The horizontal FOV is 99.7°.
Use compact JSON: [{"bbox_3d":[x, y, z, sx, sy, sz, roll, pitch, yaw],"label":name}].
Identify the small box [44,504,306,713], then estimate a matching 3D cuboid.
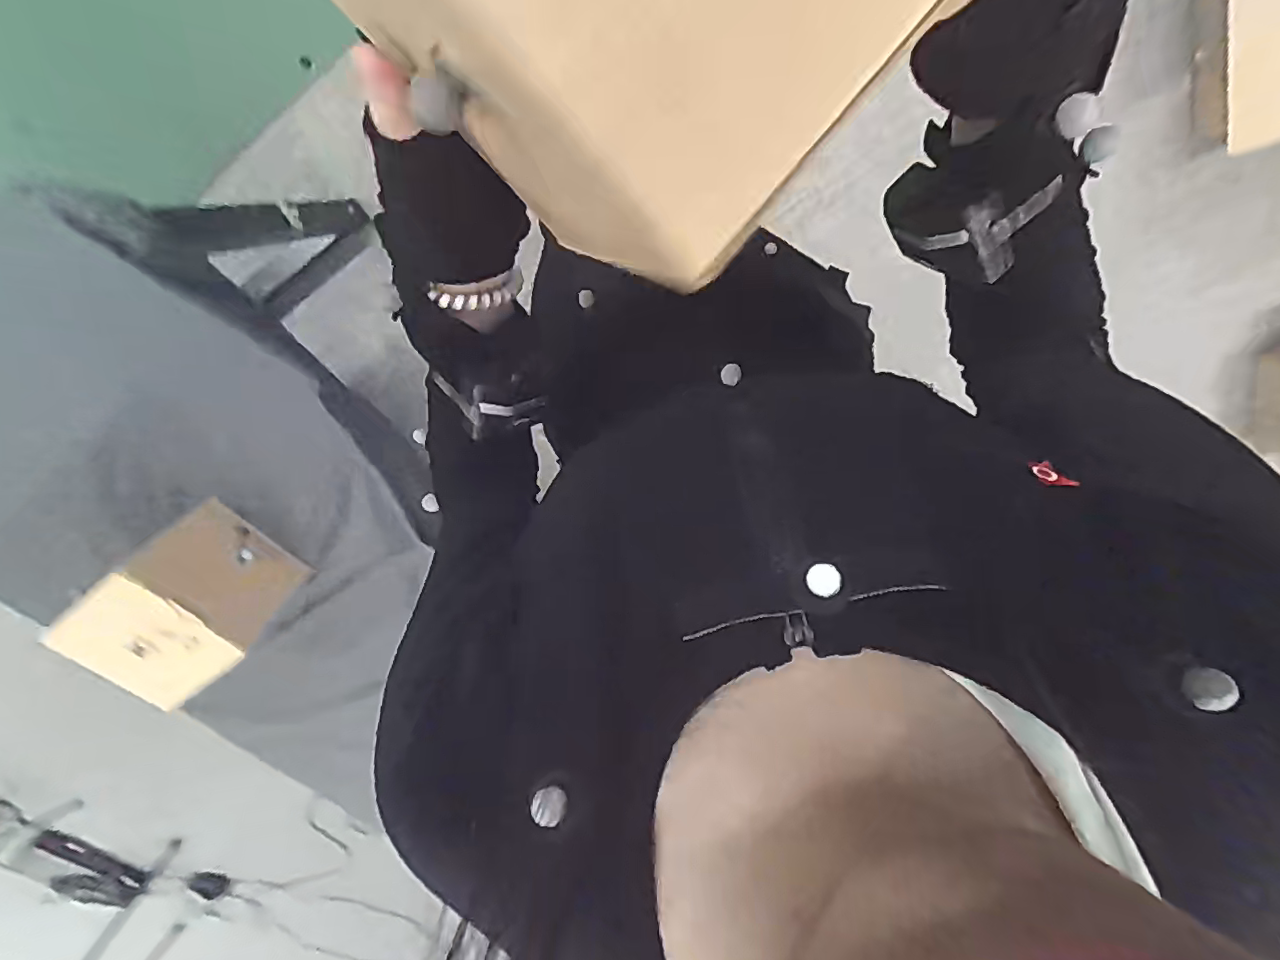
[{"bbox_3d":[-0.600,0.167,0.726,0.179,0.176,0.168,-34,115,15],"label":"small box"}]
